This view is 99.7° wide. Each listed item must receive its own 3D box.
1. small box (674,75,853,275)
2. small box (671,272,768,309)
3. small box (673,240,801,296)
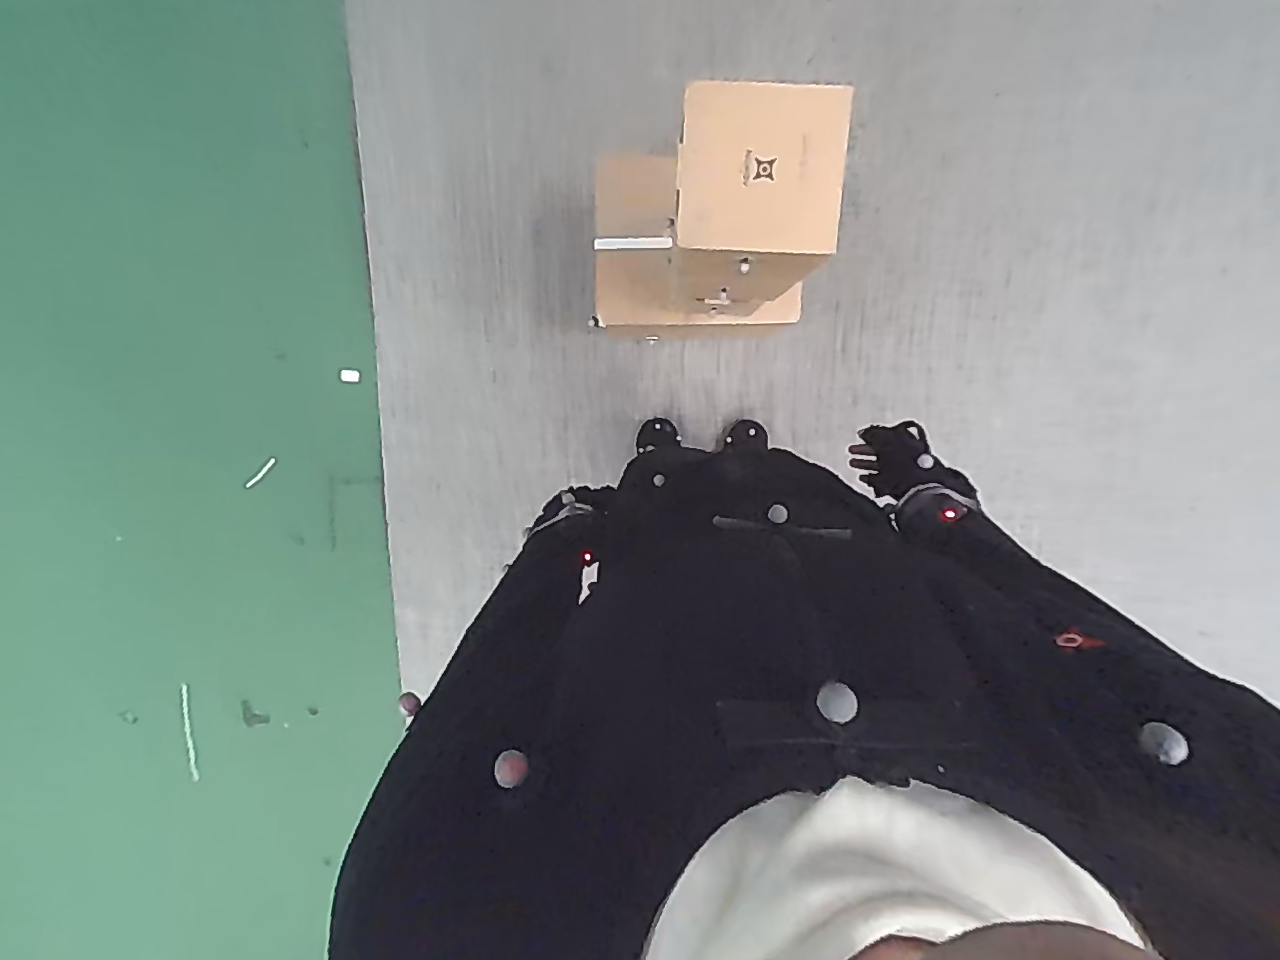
[{"bbox_3d":[0.132,-0.347,0.646,0.179,0.176,0.168,3,101,2],"label":"small box"},{"bbox_3d":[0.145,-0.406,0.967,0.168,0.176,0.179,3,101,3],"label":"small box"},{"bbox_3d":[0.141,-0.374,0.806,0.179,0.176,0.168,3,100,4],"label":"small box"}]
